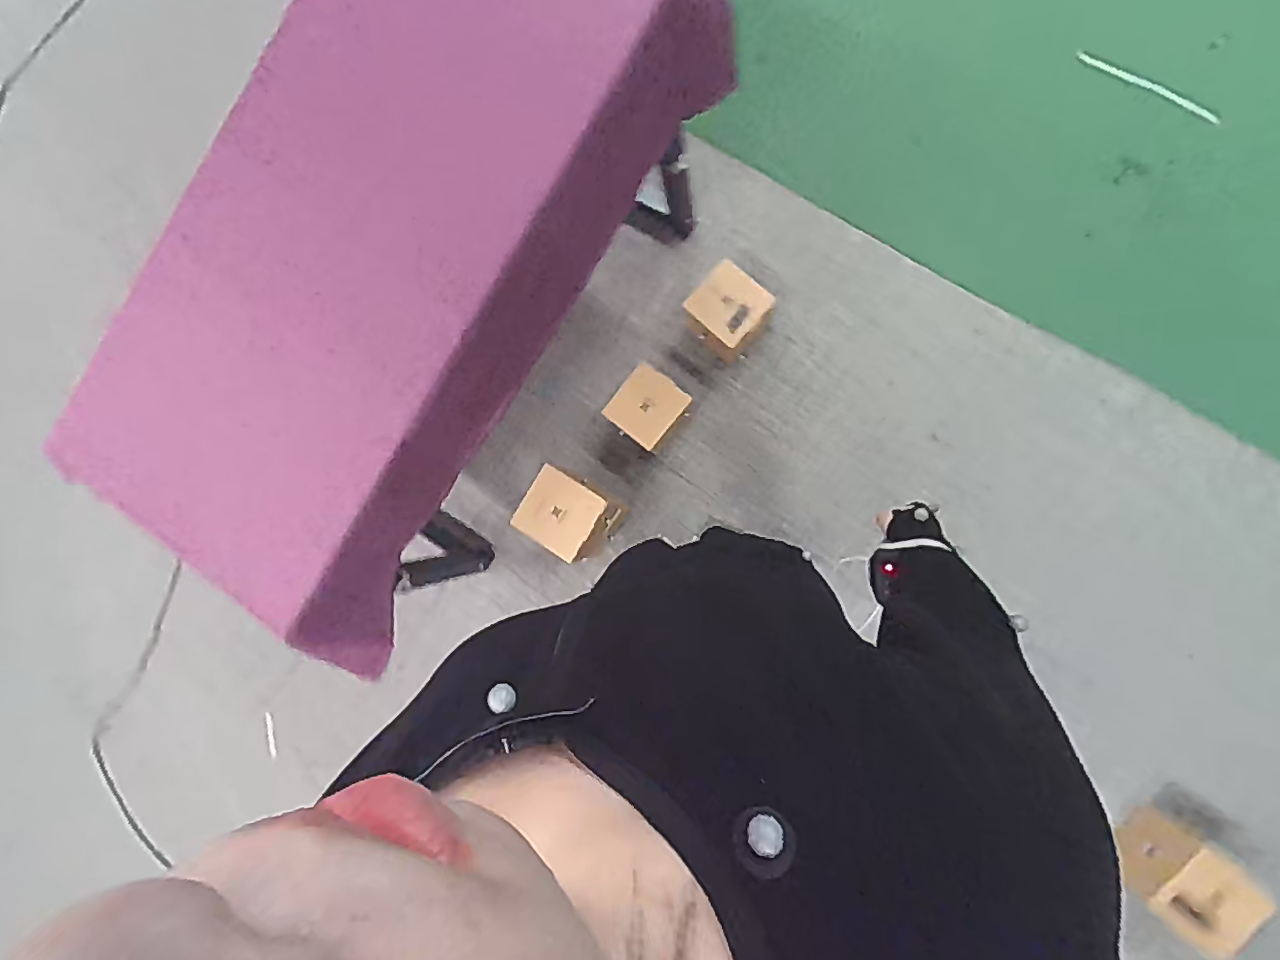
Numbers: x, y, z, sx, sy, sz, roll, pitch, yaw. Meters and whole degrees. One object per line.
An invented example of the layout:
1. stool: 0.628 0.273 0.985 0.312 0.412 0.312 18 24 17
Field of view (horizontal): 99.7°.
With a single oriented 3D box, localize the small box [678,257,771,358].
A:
1. small box: 0.224 -0.443 1.430 0.179 0.176 0.168 44 94 10
